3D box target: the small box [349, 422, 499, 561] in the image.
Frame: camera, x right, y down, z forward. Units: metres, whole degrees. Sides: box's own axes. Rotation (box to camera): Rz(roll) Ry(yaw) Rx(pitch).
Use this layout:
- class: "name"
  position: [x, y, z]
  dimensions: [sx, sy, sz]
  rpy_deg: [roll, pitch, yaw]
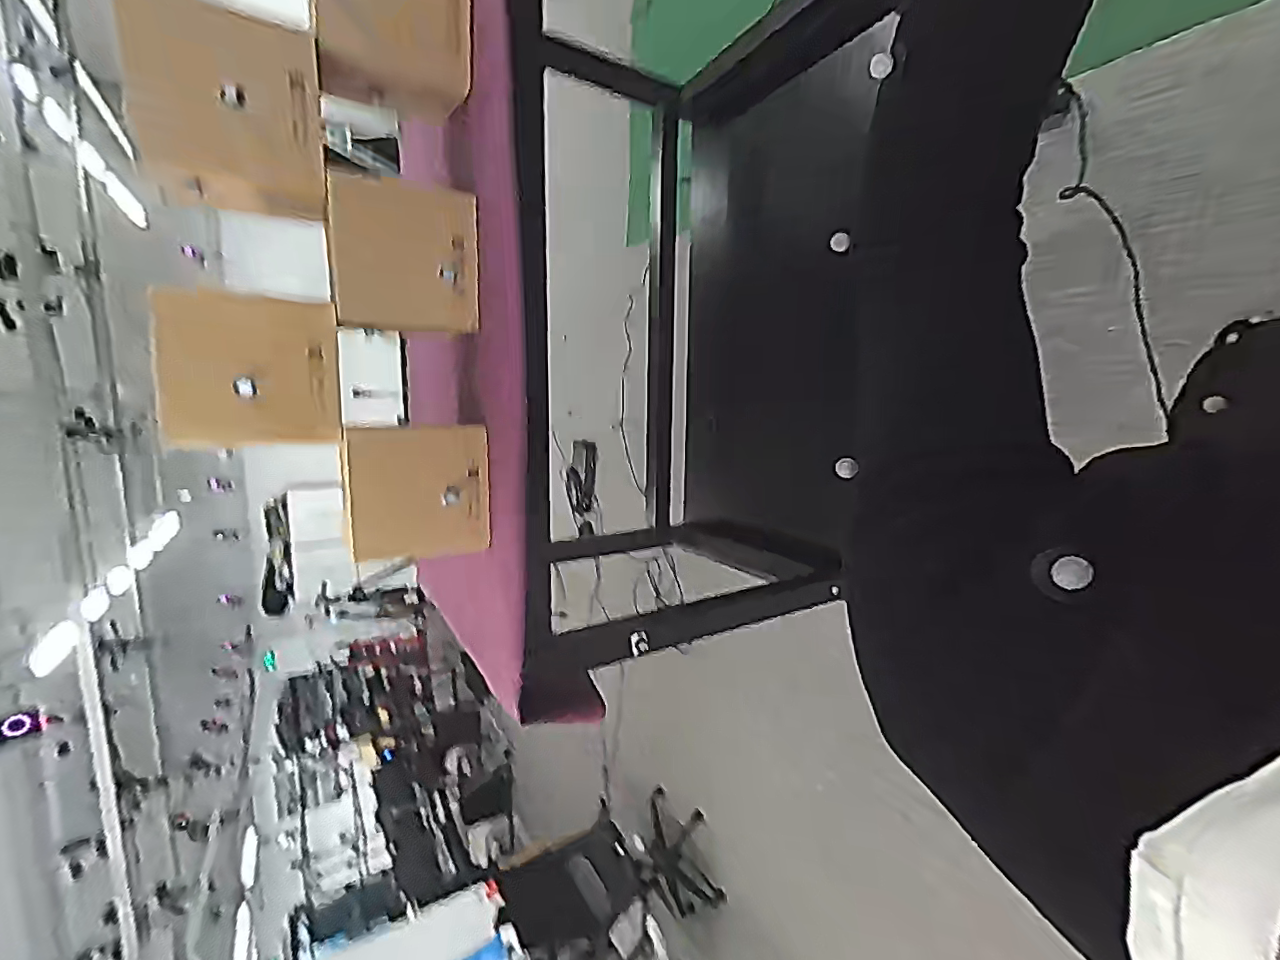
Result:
- class: "small box"
  position: [-0.304, 0.005, 0.756]
  dimensions: [0.179, 0.176, 0.168]
  rpy_deg: [11, 103, 57]

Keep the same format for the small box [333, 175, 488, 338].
- class: "small box"
  position: [-0.312, -0.285, 0.734]
  dimensions: [0.179, 0.176, 0.168]
  rpy_deg: [18, 110, 57]

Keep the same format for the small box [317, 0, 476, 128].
- class: "small box"
  position: [-0.310, -0.576, 0.687]
  dimensions: [0.179, 0.176, 0.168]
  rpy_deg: [28, 119, 56]

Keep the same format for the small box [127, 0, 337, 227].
- class: "small box"
  position: [-0.456, -0.411, 0.634]
  dimensions: [0.179, 0.176, 0.168]
  rpy_deg: [18, 110, 57]

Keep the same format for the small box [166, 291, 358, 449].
- class: "small box"
  position: [-0.452, -0.125, 0.672]
  dimensions: [0.179, 0.176, 0.168]
  rpy_deg: [3, 96, 60]
